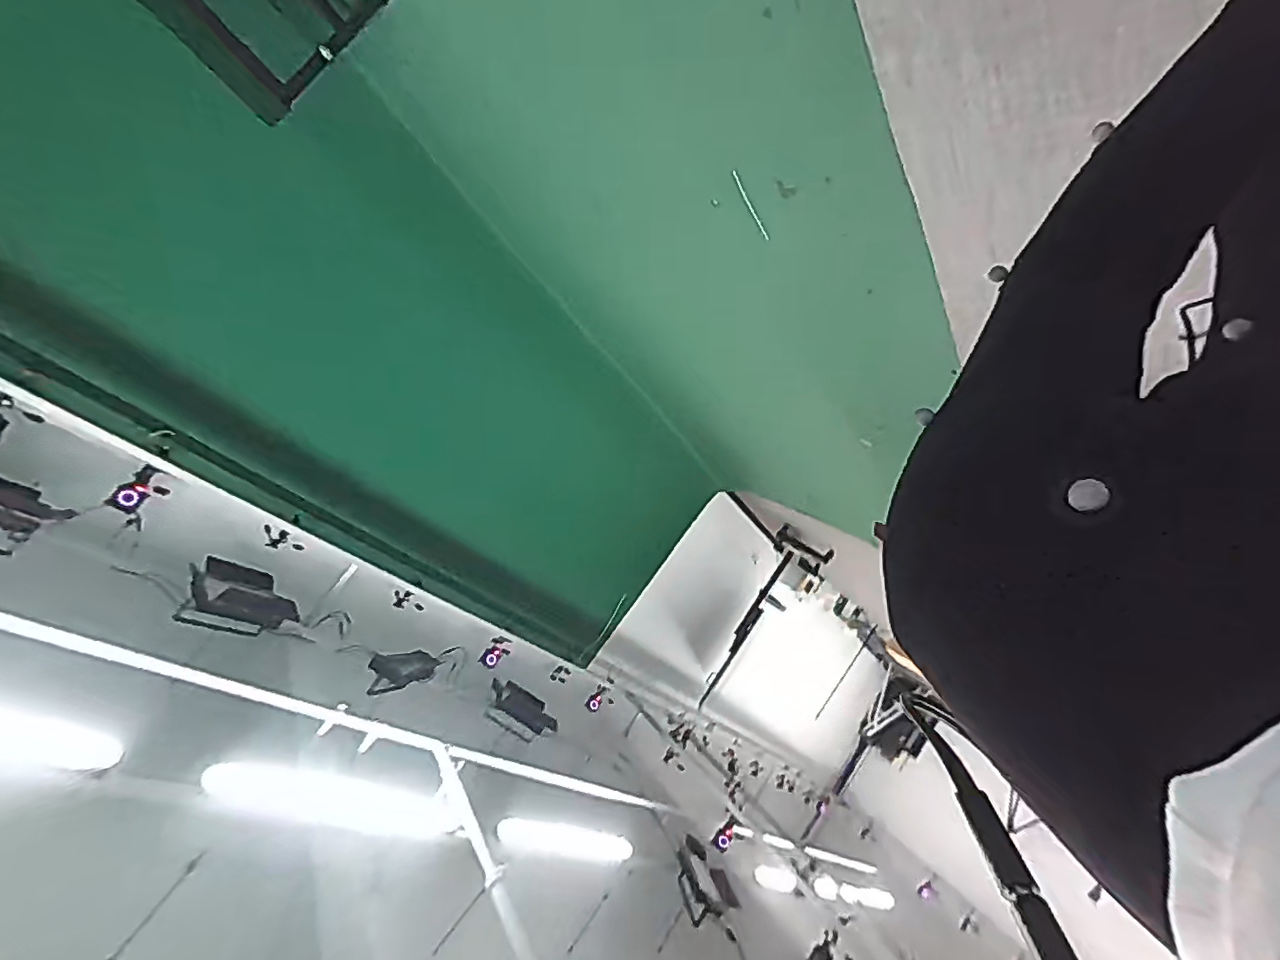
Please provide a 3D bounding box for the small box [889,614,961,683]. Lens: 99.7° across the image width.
[{"bbox_3d":[1.100,0.642,2.082,0.179,0.176,0.168,42,171,-38],"label":"small box"}]
